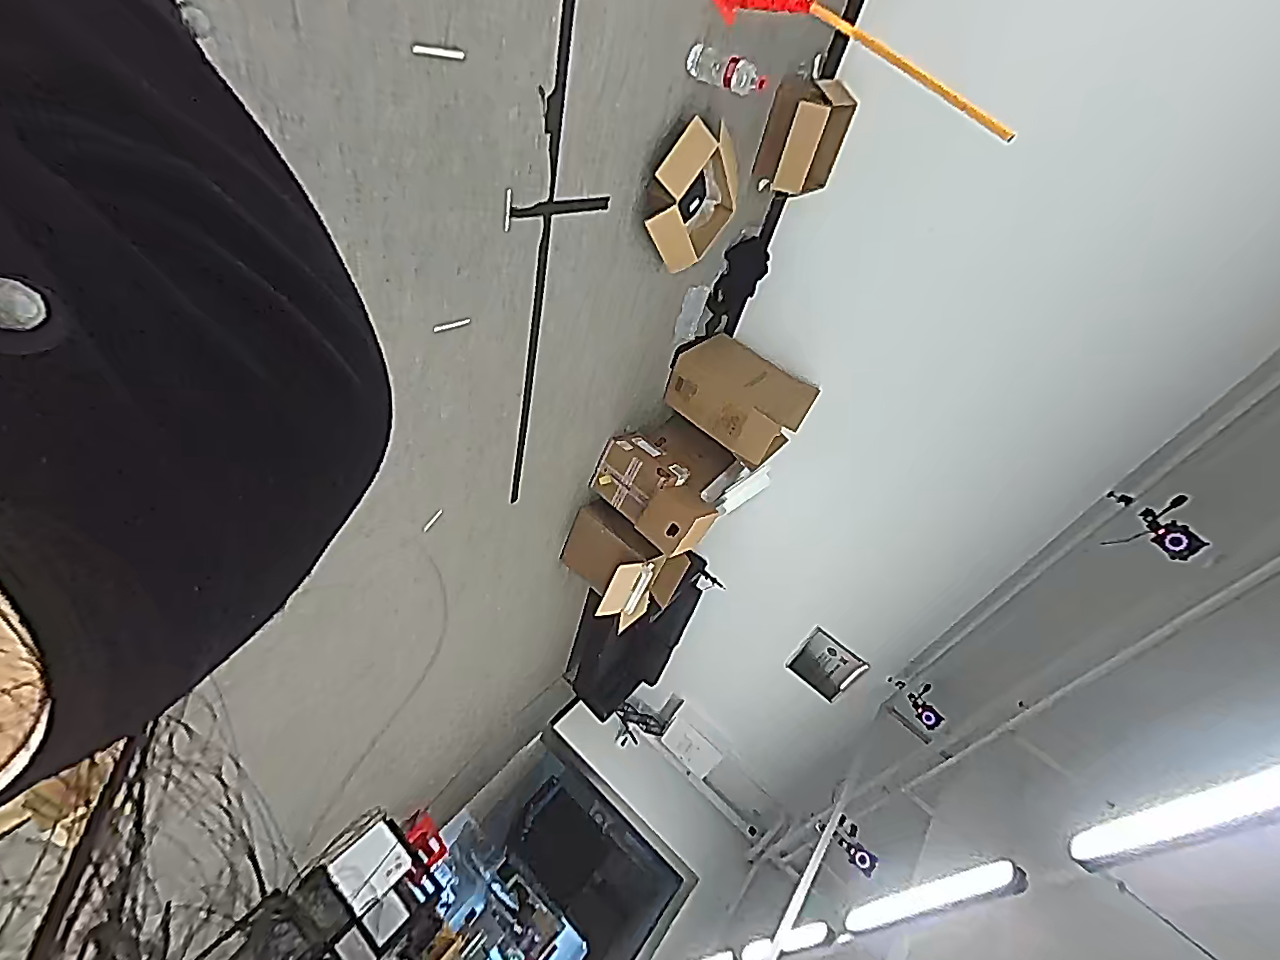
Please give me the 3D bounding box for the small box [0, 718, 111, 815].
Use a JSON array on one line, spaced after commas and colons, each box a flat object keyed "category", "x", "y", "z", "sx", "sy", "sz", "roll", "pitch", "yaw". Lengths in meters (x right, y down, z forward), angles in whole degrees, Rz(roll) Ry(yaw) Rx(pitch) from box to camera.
[{"category": "small box", "x": -1.768, "y": 0.858, "z": 1.636, "sx": 0.168, "sy": 0.176, "sz": 0.179, "roll": -31, "pitch": 151, "yaw": -43}]
